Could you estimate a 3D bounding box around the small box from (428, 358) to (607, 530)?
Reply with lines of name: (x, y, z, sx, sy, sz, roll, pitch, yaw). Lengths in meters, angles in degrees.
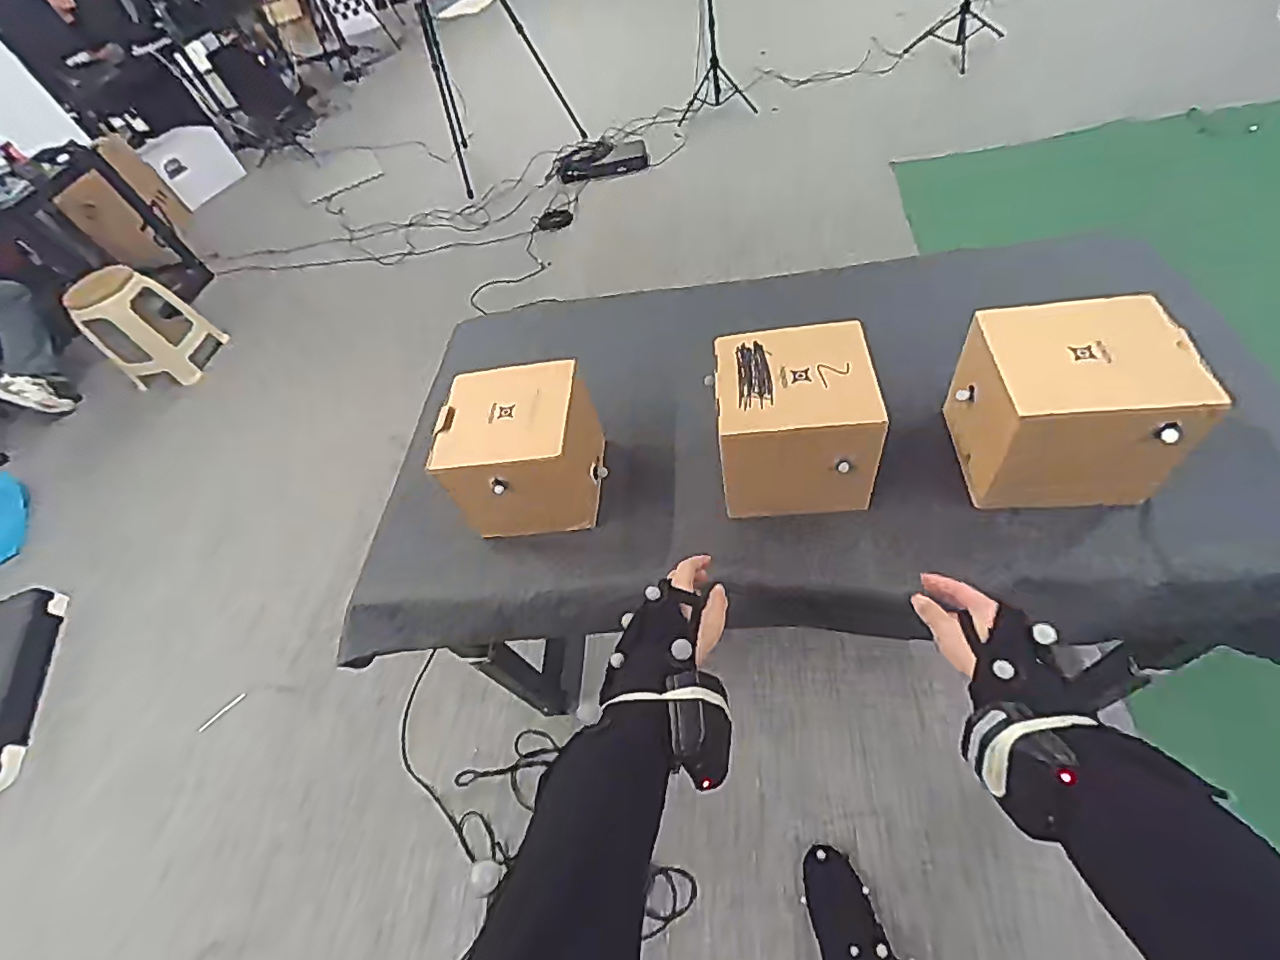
small box: (-0.154, -0.042, 0.743, 0.179, 0.176, 0.168, -5, 54, 10)

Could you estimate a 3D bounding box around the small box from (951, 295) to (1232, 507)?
small box: (0.475, -0.081, 0.613, 0.179, 0.176, 0.168, -3, 53, 13)
